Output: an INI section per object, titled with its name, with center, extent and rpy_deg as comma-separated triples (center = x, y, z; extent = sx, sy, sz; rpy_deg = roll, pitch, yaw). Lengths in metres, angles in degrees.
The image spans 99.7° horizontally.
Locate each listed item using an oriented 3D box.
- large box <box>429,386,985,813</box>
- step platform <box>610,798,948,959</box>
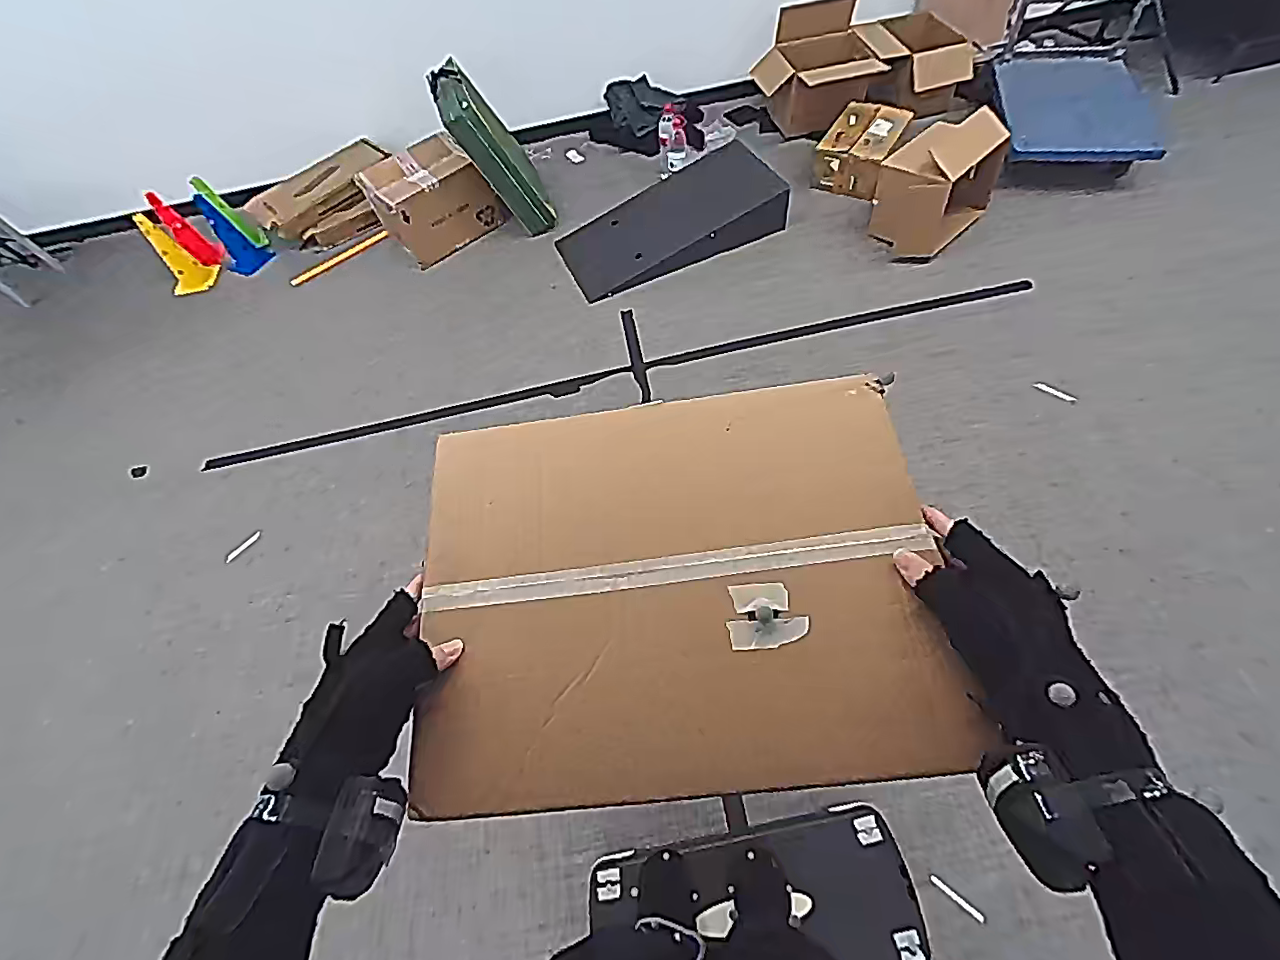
[large box]
center = 0.043, 0.141, 0.577
extent = 0.408, 0.320, 0.320
rpy_deg = -8, 65, 4
[step platform]
center = 0.277, 0.919, 1.177
extent = 0.684, 0.204, 0.286
rpy_deg = -12, 58, -1
